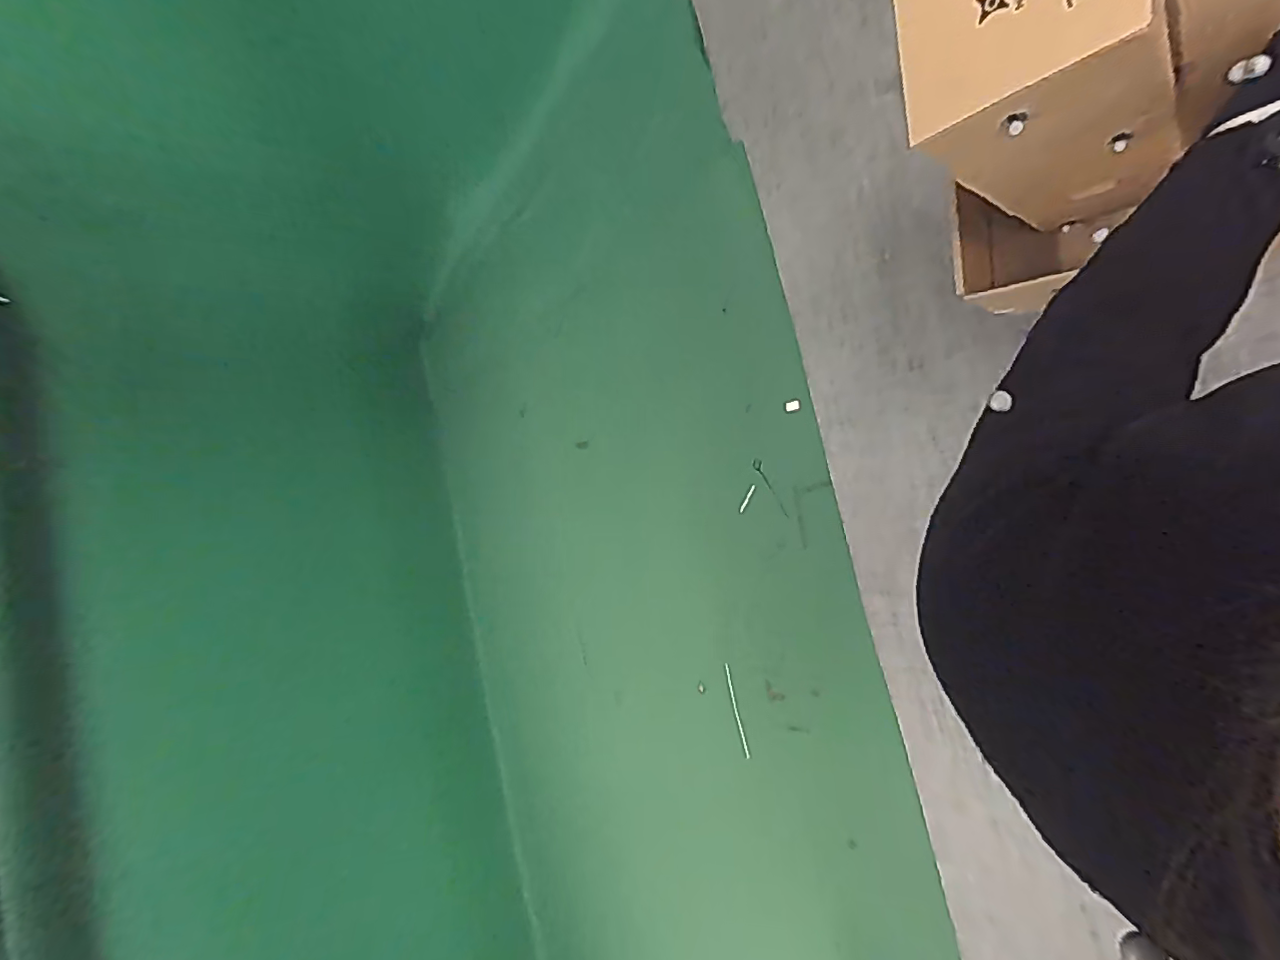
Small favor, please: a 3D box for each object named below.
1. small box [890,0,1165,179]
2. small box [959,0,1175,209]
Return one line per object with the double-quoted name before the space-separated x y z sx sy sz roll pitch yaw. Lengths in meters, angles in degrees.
"small box" 0.367 -0.420 0.516 0.179 0.176 0.168 -5 94 48
"small box" 0.487 -0.442 0.626 0.179 0.176 0.168 -4 94 47
